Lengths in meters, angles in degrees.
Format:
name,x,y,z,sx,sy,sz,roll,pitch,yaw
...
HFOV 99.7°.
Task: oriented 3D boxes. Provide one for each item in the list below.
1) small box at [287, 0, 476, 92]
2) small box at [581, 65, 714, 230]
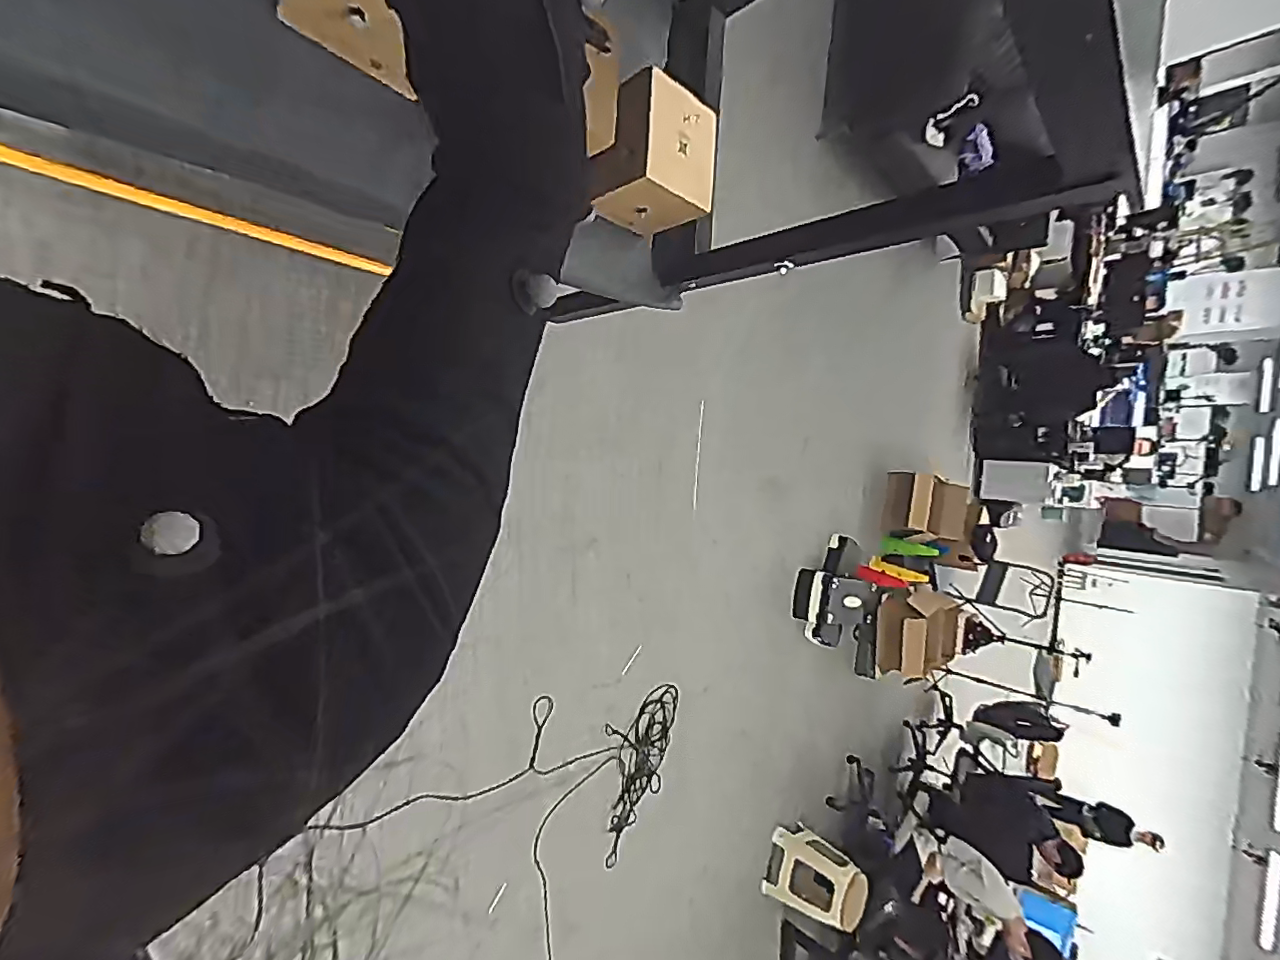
name,x,y,z,sx,sy,sz,roll,pitch,yaw
small box,-0.303,-0.616,0.642,0.168,0.176,0.179,8,89,-45
small box,0.011,-0.568,0.958,0.168,0.176,0.179,0,94,-46
